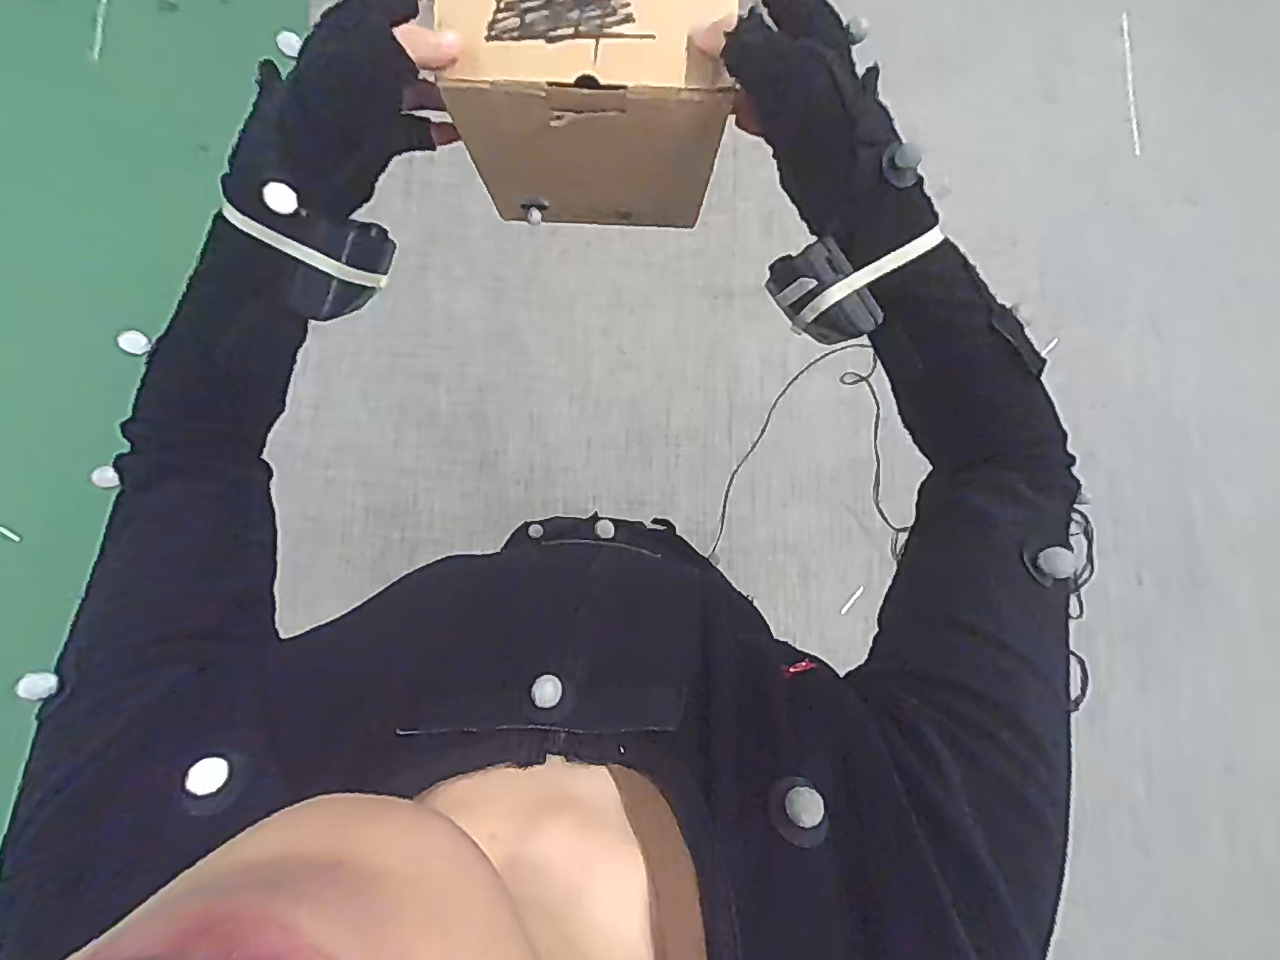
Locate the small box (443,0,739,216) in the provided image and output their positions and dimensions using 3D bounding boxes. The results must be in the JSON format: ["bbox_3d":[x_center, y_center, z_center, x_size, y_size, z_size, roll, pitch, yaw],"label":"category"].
[{"bbox_3d":[-0.027,-0.307,0.376,0.168,0.176,0.179,1,90,-3],"label":"small box"}]
